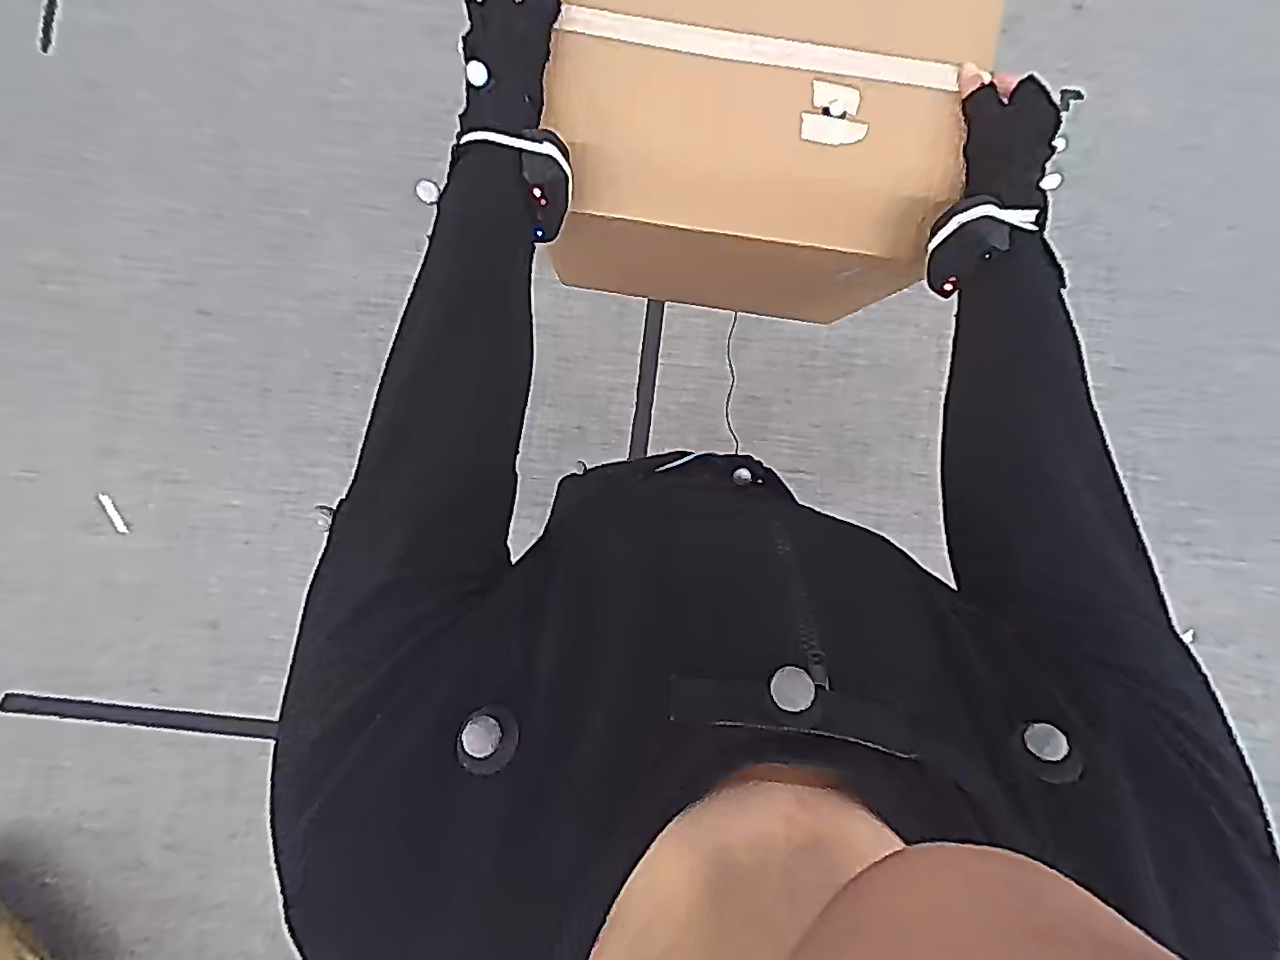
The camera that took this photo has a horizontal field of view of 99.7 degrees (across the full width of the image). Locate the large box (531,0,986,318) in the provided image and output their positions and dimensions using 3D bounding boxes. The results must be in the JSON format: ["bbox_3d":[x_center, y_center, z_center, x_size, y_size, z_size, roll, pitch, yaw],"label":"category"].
[{"bbox_3d":[0.103,-0.397,0.642,0.408,0.320,0.320,7,97,-3],"label":"large box"}]
